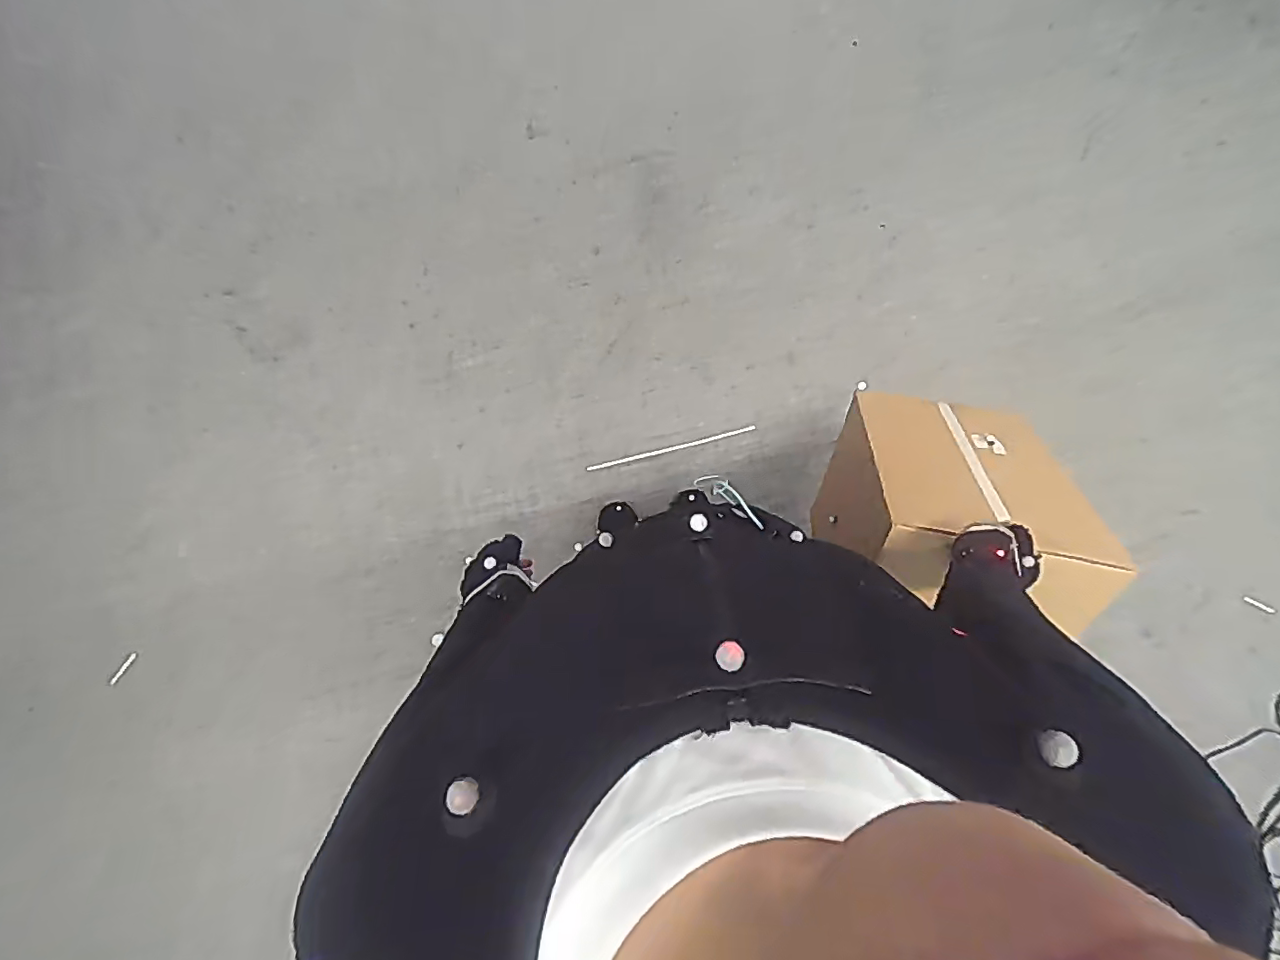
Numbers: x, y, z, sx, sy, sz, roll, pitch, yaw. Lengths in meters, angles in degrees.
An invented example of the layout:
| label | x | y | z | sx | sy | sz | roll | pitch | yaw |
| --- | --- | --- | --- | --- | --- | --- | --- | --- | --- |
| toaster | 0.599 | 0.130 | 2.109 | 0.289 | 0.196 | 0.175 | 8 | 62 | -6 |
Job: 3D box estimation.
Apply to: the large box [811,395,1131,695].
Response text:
| label | x | y | z | sx | sy | sz | roll | pitch | yaw |
| --- | --- | --- | --- | --- | --- | --- | --- | --- | --- |
| large box | 0.508 | 0.096 | 0.954 | 0.320 | 0.408 | 0.320 | 12 | 126 | 5 |
